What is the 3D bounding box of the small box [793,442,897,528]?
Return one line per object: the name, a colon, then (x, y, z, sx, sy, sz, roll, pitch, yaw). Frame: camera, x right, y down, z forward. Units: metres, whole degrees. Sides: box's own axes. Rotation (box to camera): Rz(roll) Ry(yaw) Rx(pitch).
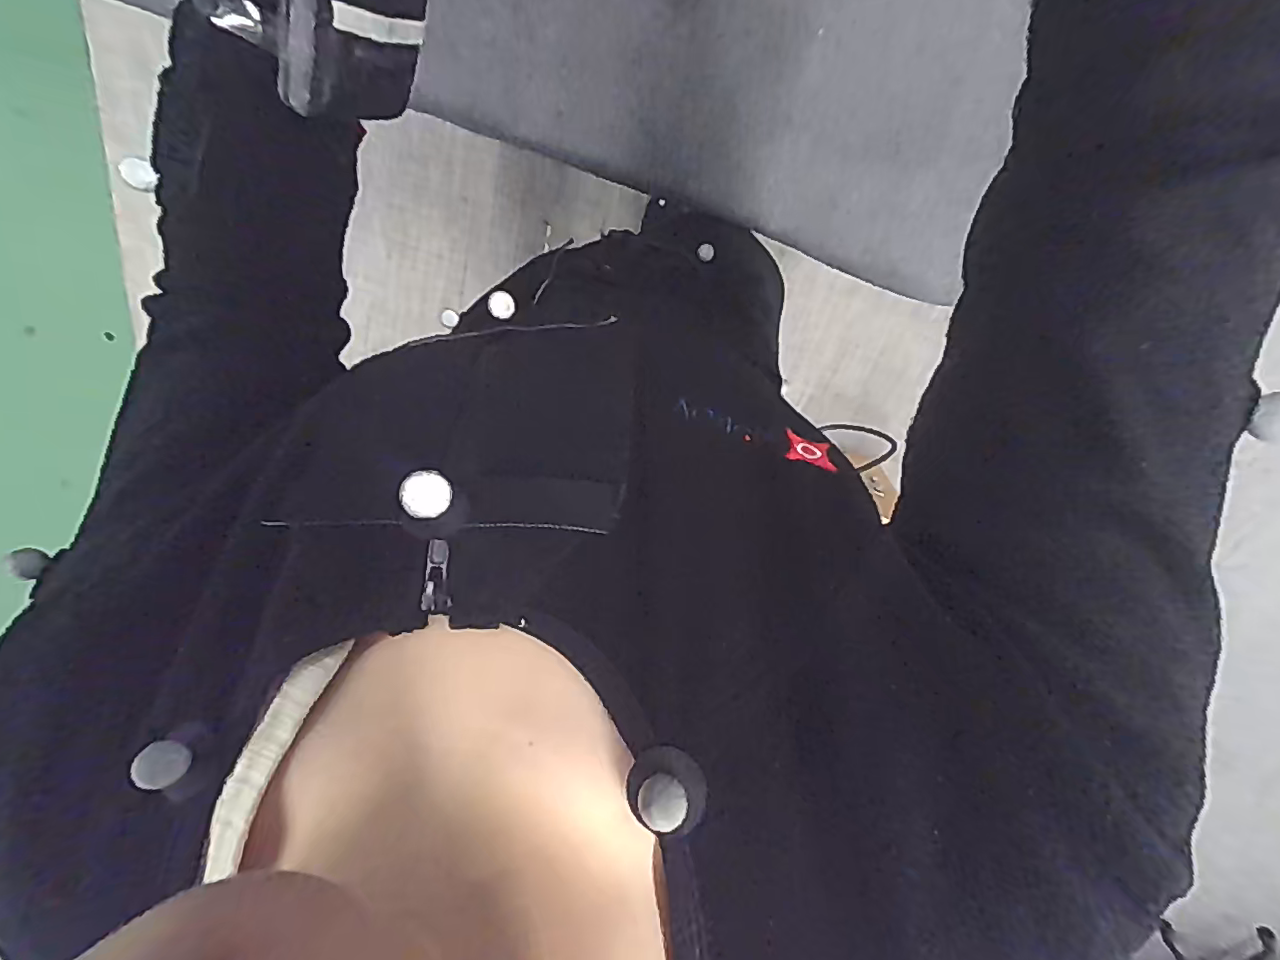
small box: (0.496, 0.034, 1.344, 0.168, 0.176, 0.179, 21, 120, -5)
